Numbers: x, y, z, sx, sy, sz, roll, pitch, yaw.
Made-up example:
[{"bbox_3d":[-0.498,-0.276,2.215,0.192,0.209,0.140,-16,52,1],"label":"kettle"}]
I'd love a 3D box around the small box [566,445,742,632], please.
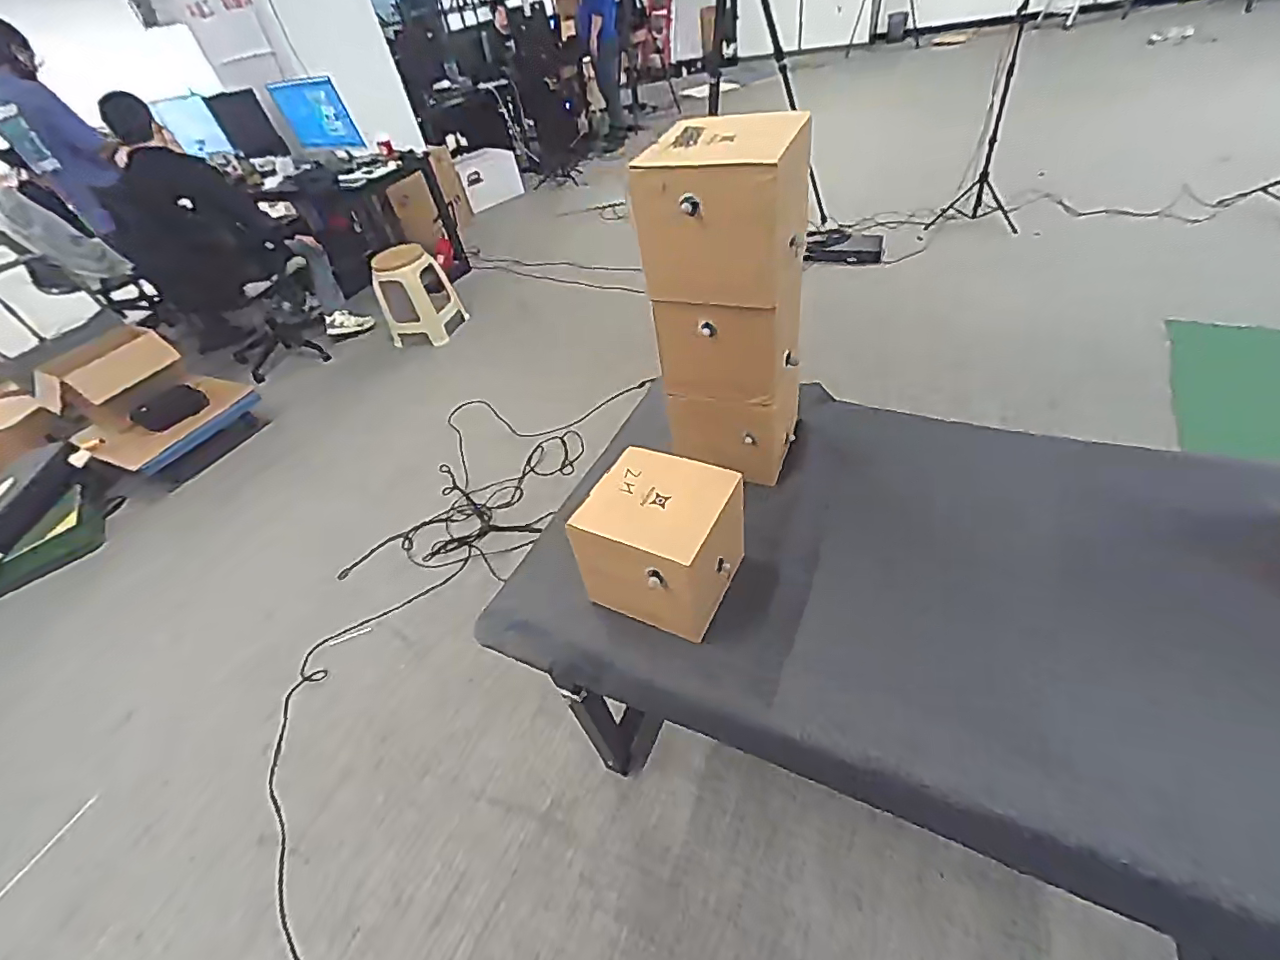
[{"bbox_3d":[0.030,0.081,0.741,0.179,0.176,0.168,16,48,26],"label":"small box"}]

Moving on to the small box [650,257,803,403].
[{"bbox_3d":[0.134,-0.234,0.805,0.179,0.176,0.168,12,52,21],"label":"small box"}]

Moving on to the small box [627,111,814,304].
[{"bbox_3d":[0.107,-0.339,0.682,0.179,0.176,0.168,13,52,23],"label":"small box"}]
